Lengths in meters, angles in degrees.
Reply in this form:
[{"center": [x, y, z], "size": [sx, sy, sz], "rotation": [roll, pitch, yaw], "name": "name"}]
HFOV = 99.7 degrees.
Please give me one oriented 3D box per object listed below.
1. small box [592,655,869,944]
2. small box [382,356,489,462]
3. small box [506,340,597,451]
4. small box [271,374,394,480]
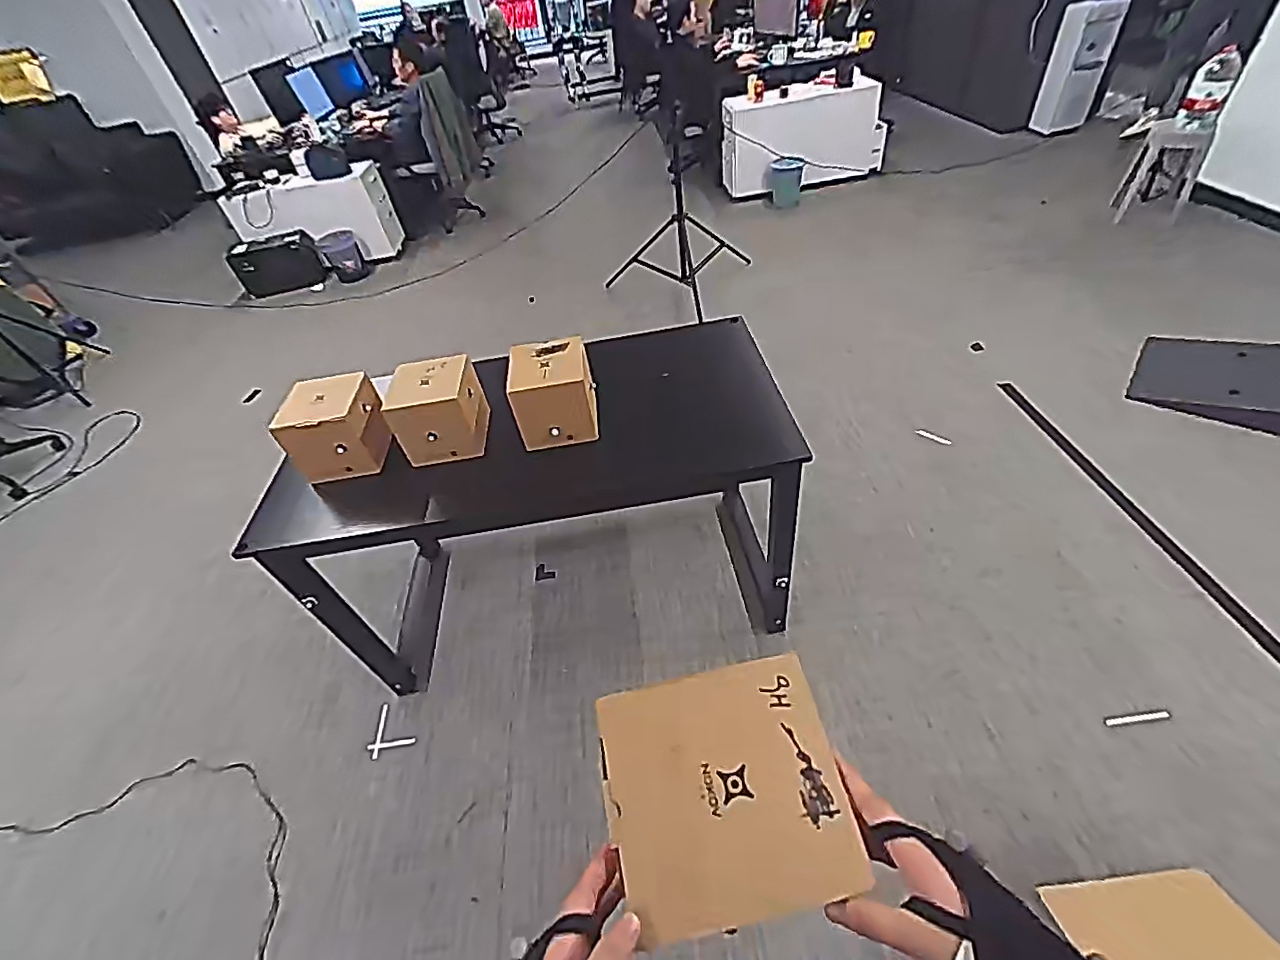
[{"center": [0.067, 0.272, 0.474], "size": [0.179, 0.176, 0.168], "rotation": [-12, 58, -2], "name": "small box"}, {"center": [-0.456, -0.155, 1.237], "size": [0.168, 0.176, 0.179], "rotation": [-9, 44, 1], "name": "small box"}, {"center": [-0.193, -0.190, 1.226], "size": [0.168, 0.176, 0.179], "rotation": [-9, 45, 1], "name": "small box"}, {"center": [-0.692, -0.115, 1.243], "size": [0.168, 0.176, 0.179], "rotation": [-9, 43, 0], "name": "small box"}]
